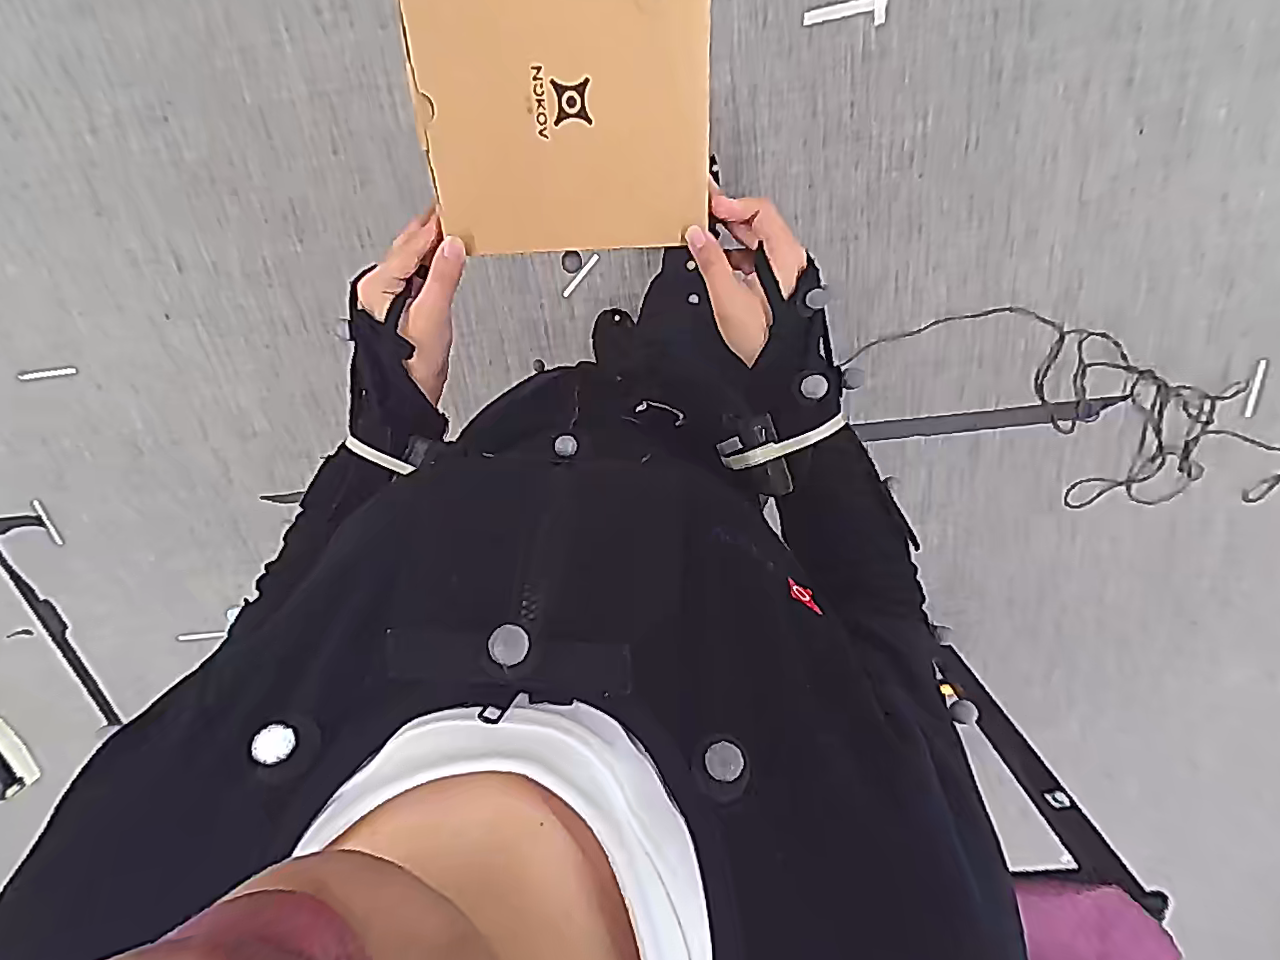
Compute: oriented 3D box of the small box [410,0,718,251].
[{"bbox_3d":[-0.043,-0.268,0.397,0.179,0.176,0.168,-2,118,1],"label":"small box"}]
